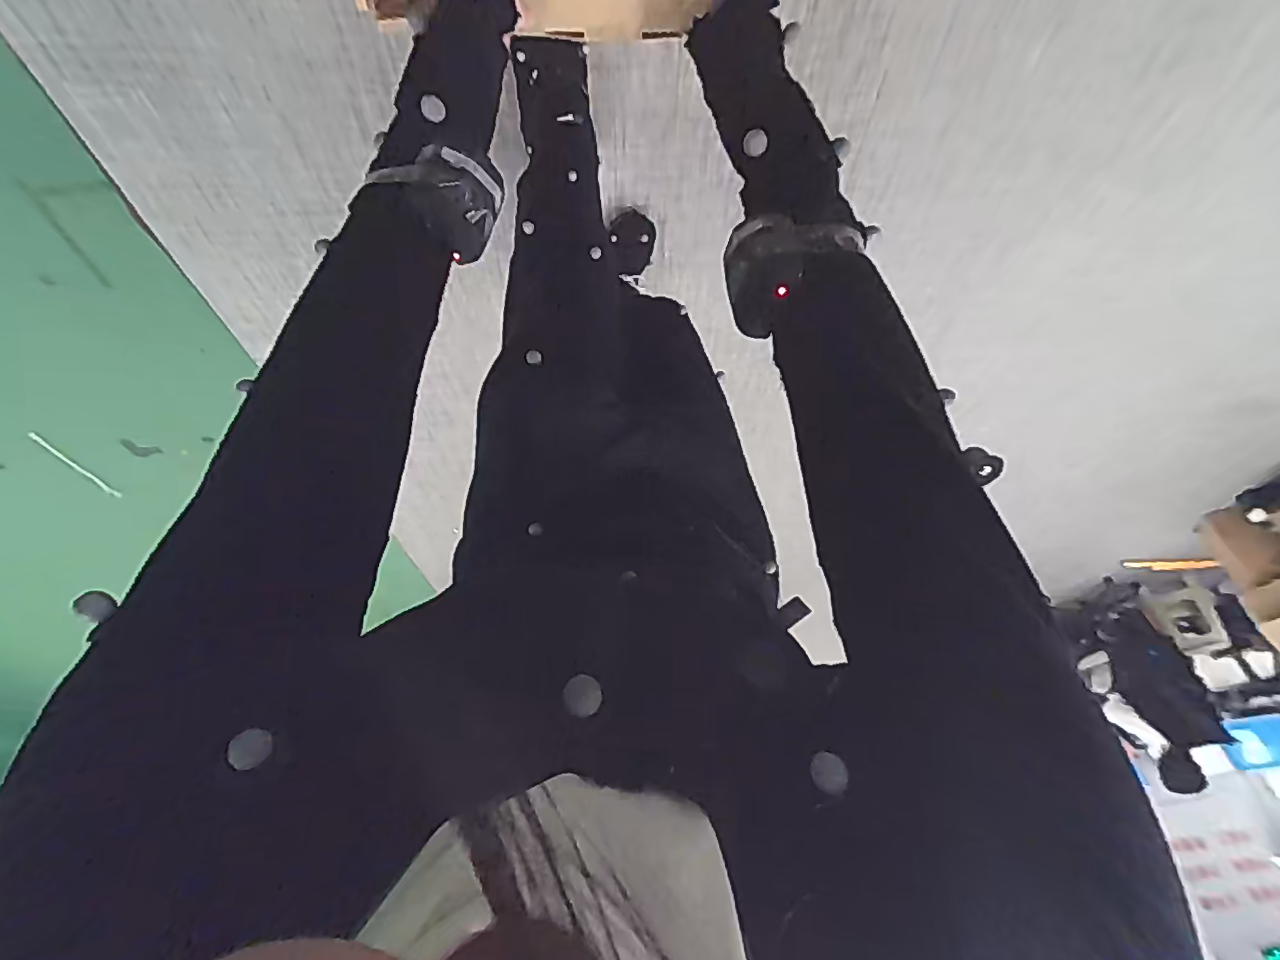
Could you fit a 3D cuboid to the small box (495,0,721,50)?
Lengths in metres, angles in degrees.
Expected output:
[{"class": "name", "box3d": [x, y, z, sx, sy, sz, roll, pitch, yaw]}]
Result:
[{"class": "small box", "box3d": [-0.028, -0.443, 0.390, 0.168, 0.176, 0.179, -5, 142, -6]}]
